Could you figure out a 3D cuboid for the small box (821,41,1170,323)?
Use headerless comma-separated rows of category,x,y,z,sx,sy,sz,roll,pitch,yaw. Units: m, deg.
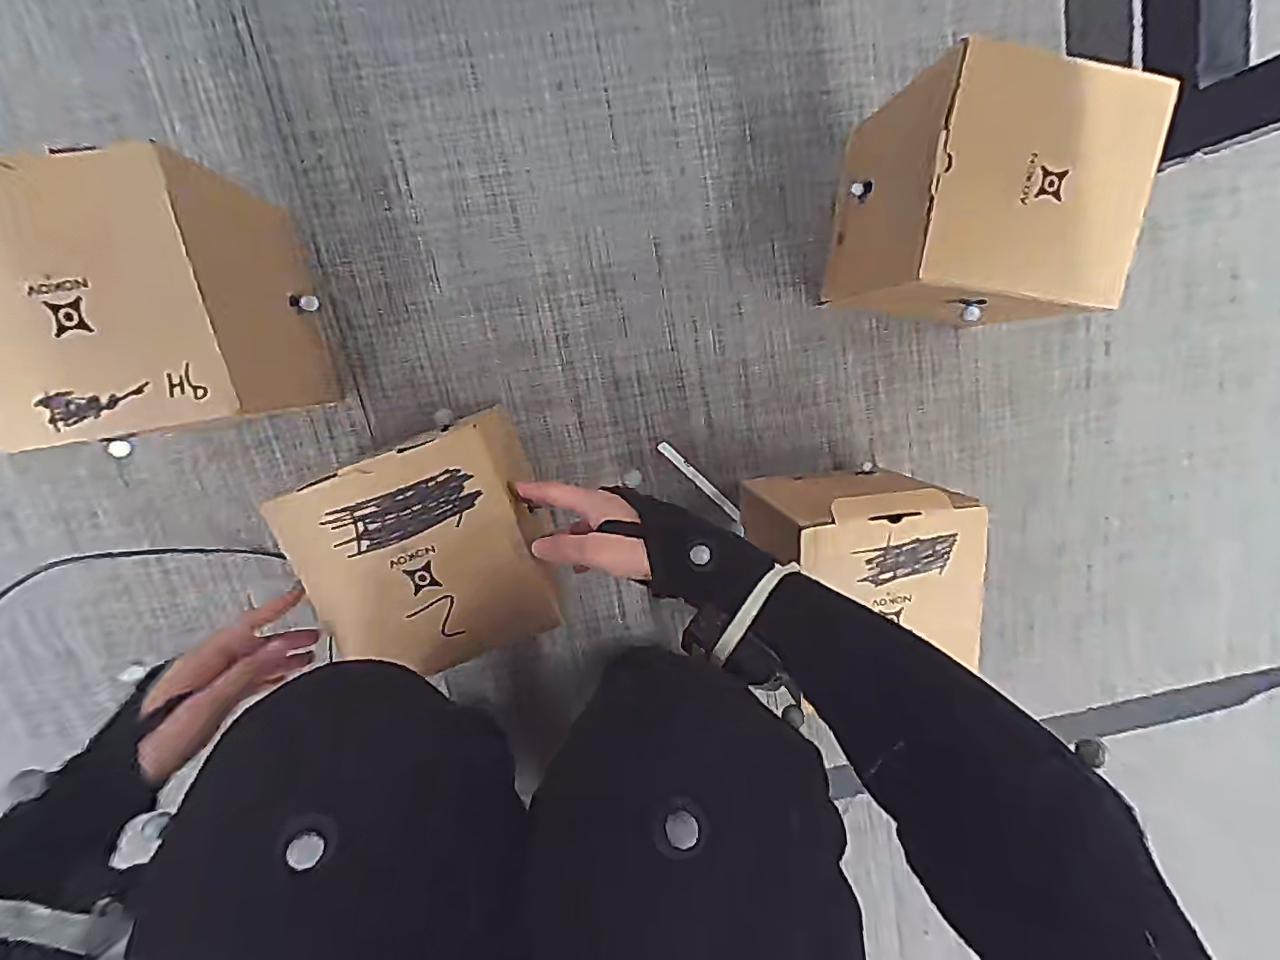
small box,0.290,-0.237,0.482,0.179,0.176,0.168,5,101,-7

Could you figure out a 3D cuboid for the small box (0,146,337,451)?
small box,-0.372,-0.126,0.424,0.168,0.176,0.179,-10,101,-5
